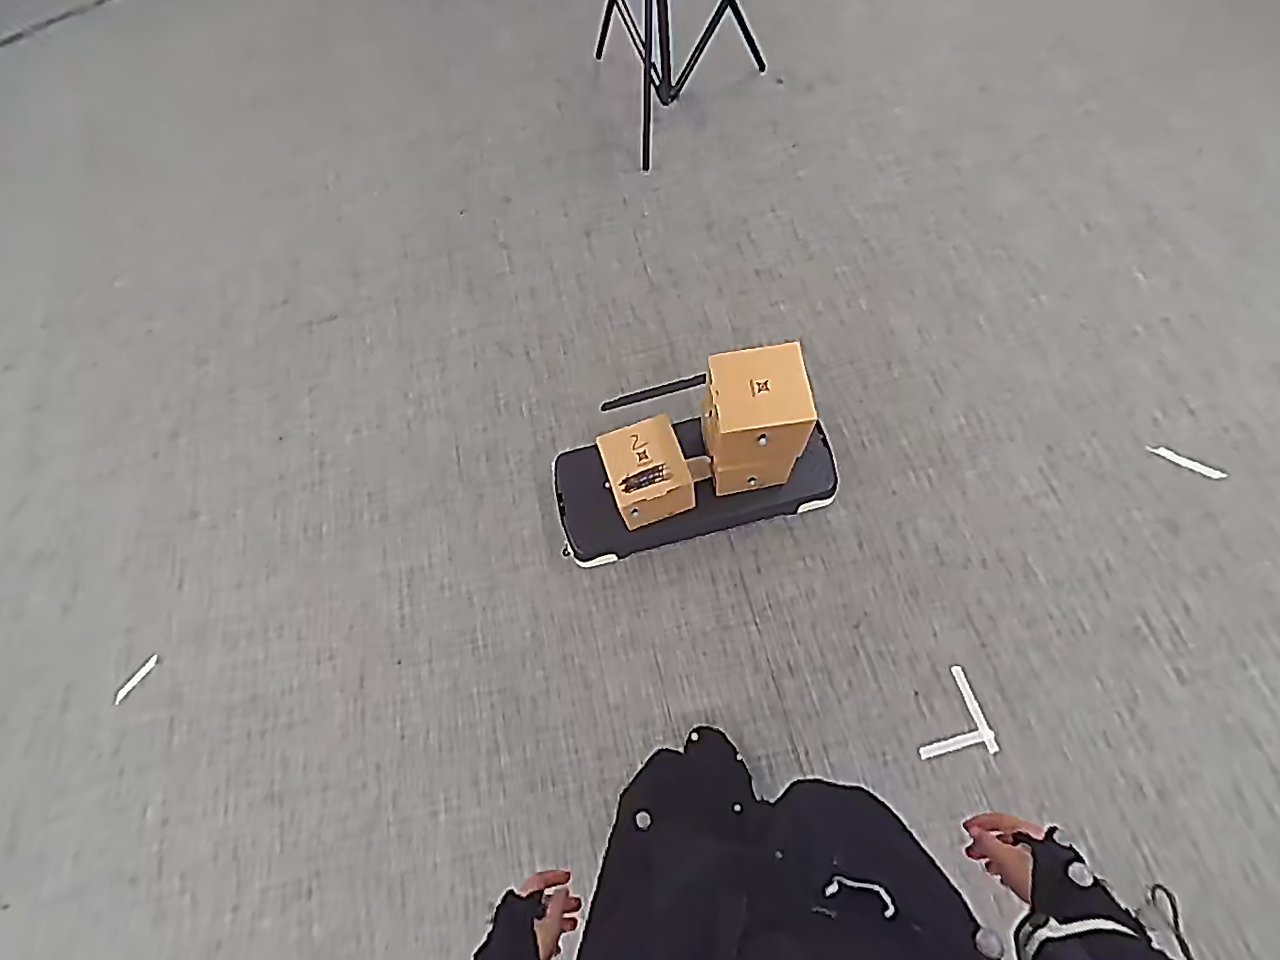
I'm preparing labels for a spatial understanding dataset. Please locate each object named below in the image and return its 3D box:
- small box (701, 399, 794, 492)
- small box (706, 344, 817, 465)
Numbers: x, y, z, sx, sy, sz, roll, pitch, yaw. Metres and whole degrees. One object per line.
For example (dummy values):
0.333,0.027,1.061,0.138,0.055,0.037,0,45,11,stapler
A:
0.233,-0.082,1.210,0.168,0.176,0.179,-11,69,2,small box
0.227,-0.140,1.057,0.179,0.176,0.168,-8,70,4,small box
